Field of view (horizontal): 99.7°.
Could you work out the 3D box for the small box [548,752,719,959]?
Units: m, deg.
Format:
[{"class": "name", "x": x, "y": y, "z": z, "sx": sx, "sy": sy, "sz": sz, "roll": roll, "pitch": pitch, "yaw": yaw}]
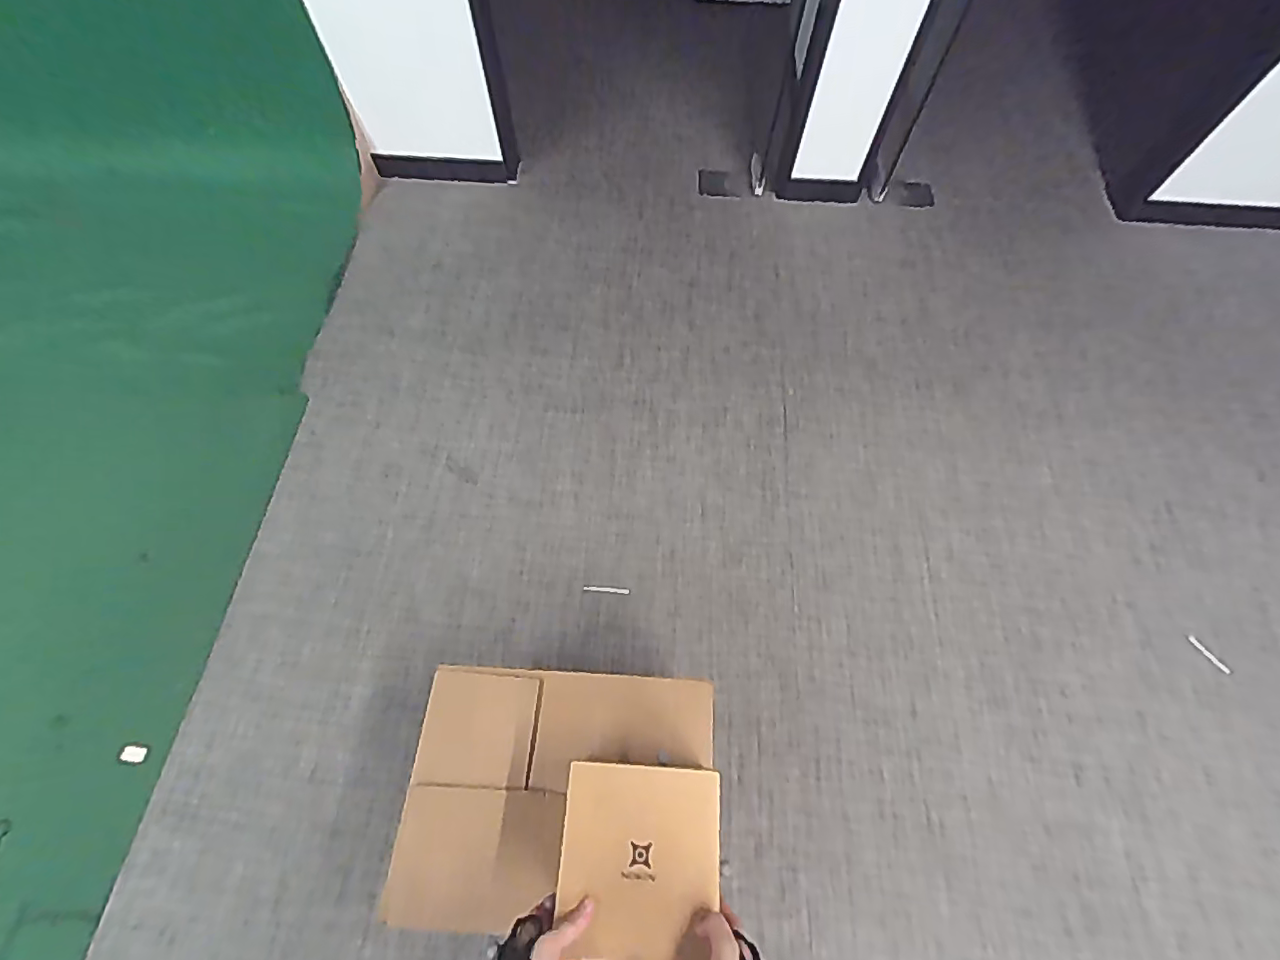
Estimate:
[{"class": "small box", "x": -0.004, "y": 0.422, "z": 0.629, "sx": 0.168, "sy": 0.176, "sz": 0.179, "roll": 4, "pitch": 66, "yaw": 1}]
